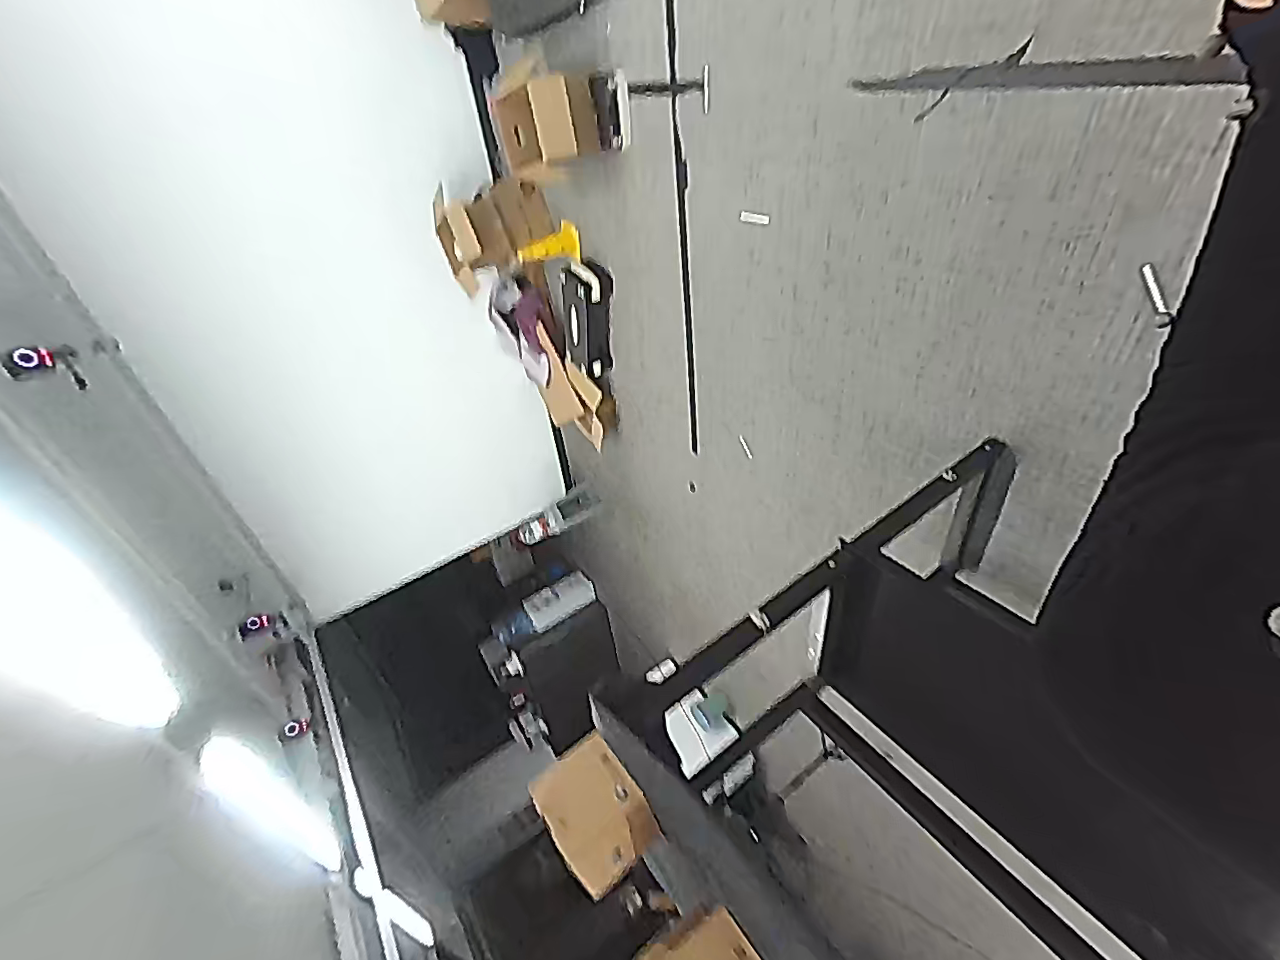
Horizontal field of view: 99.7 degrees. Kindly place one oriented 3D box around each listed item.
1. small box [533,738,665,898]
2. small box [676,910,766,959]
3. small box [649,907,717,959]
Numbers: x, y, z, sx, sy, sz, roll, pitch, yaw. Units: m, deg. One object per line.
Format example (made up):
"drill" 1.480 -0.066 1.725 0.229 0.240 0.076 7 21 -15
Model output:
"small box" -0.074 0.643 1.044 0.168 0.176 0.179 34 149 47
"small box" 0.132 0.818 0.834 0.168 0.176 0.179 39 149 40
"small box" 0.118 0.957 1.013 0.168 0.176 0.179 38 146 45
